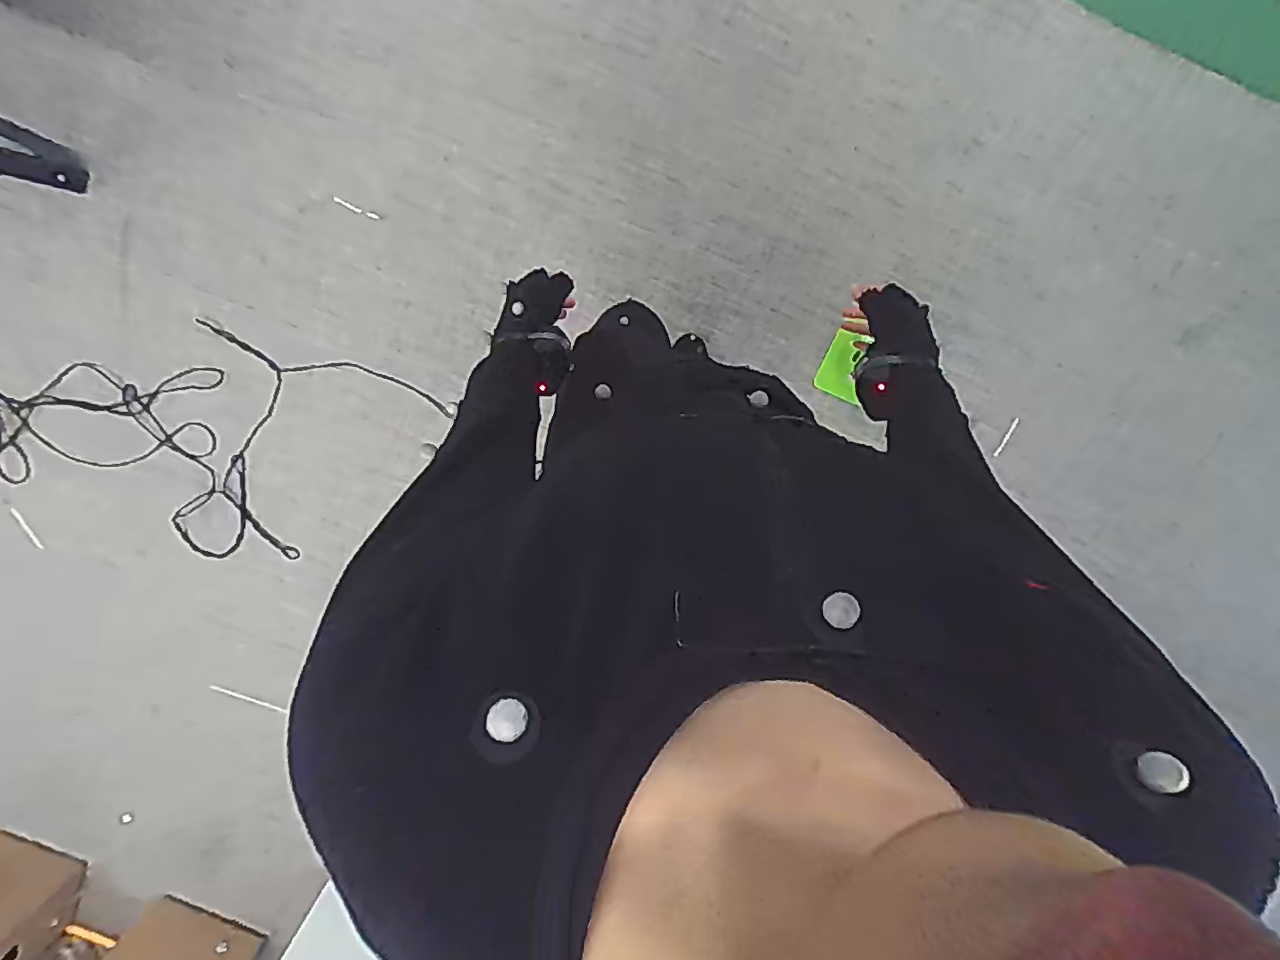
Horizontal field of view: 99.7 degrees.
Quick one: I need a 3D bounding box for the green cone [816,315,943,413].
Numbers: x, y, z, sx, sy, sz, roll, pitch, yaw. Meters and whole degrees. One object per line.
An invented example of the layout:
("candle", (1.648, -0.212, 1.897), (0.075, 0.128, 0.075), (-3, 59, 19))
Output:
("green cone", (0.562, -0.245, 1.198), (0.200, 0.368, 0.202), (21, 105, -3))
